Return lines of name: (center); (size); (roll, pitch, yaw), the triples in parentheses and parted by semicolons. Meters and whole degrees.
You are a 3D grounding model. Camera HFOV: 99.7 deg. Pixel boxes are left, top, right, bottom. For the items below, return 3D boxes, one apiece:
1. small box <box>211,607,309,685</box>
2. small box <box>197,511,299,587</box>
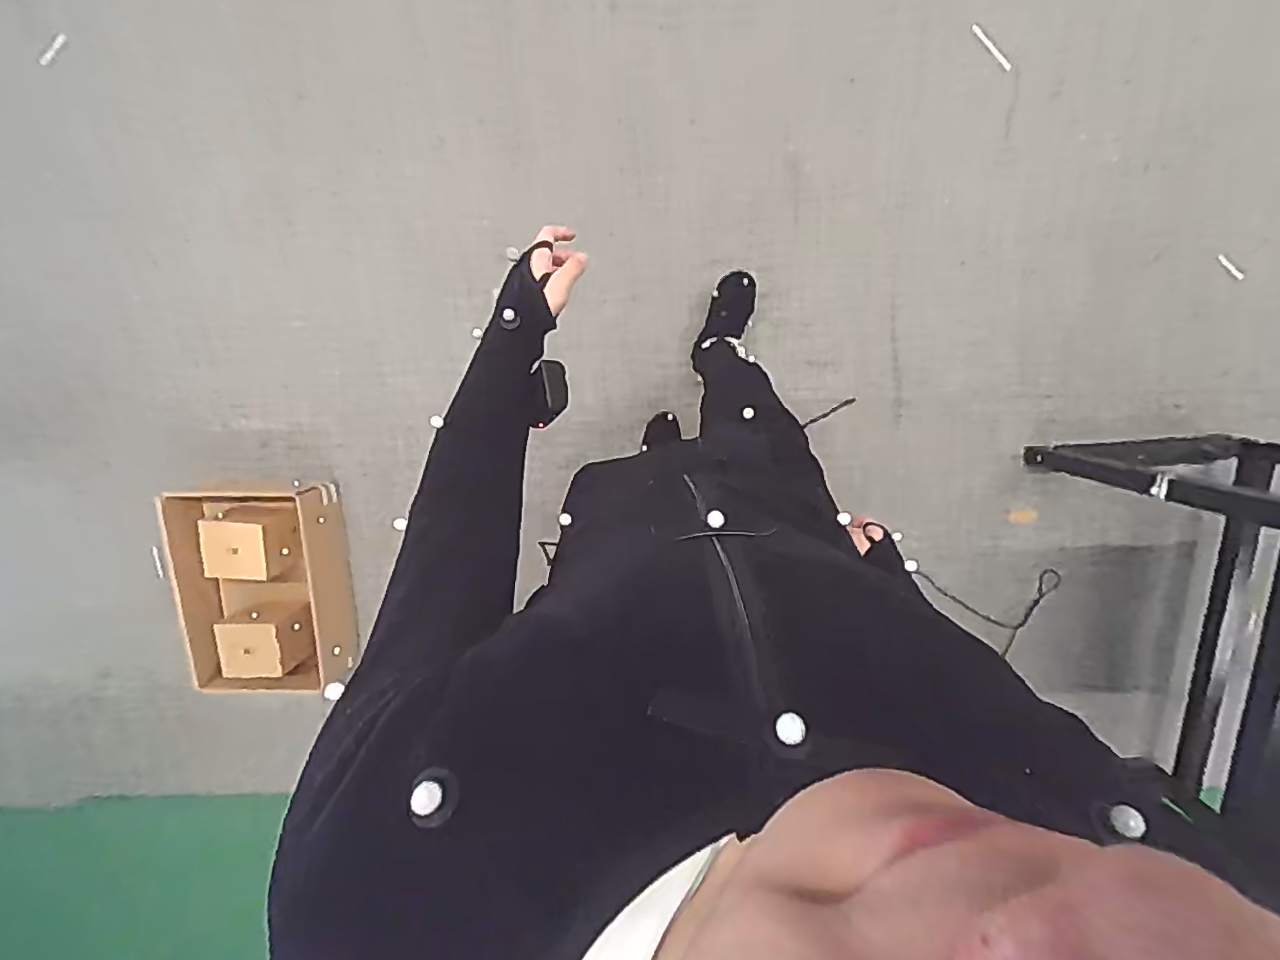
small box: (-1.112, 0.487, 1.601); (0.179, 0.176, 0.168); (0, 100, 2)
small box: (-1.105, 0.192, 1.543); (0.179, 0.176, 0.168); (4, 102, 1)
